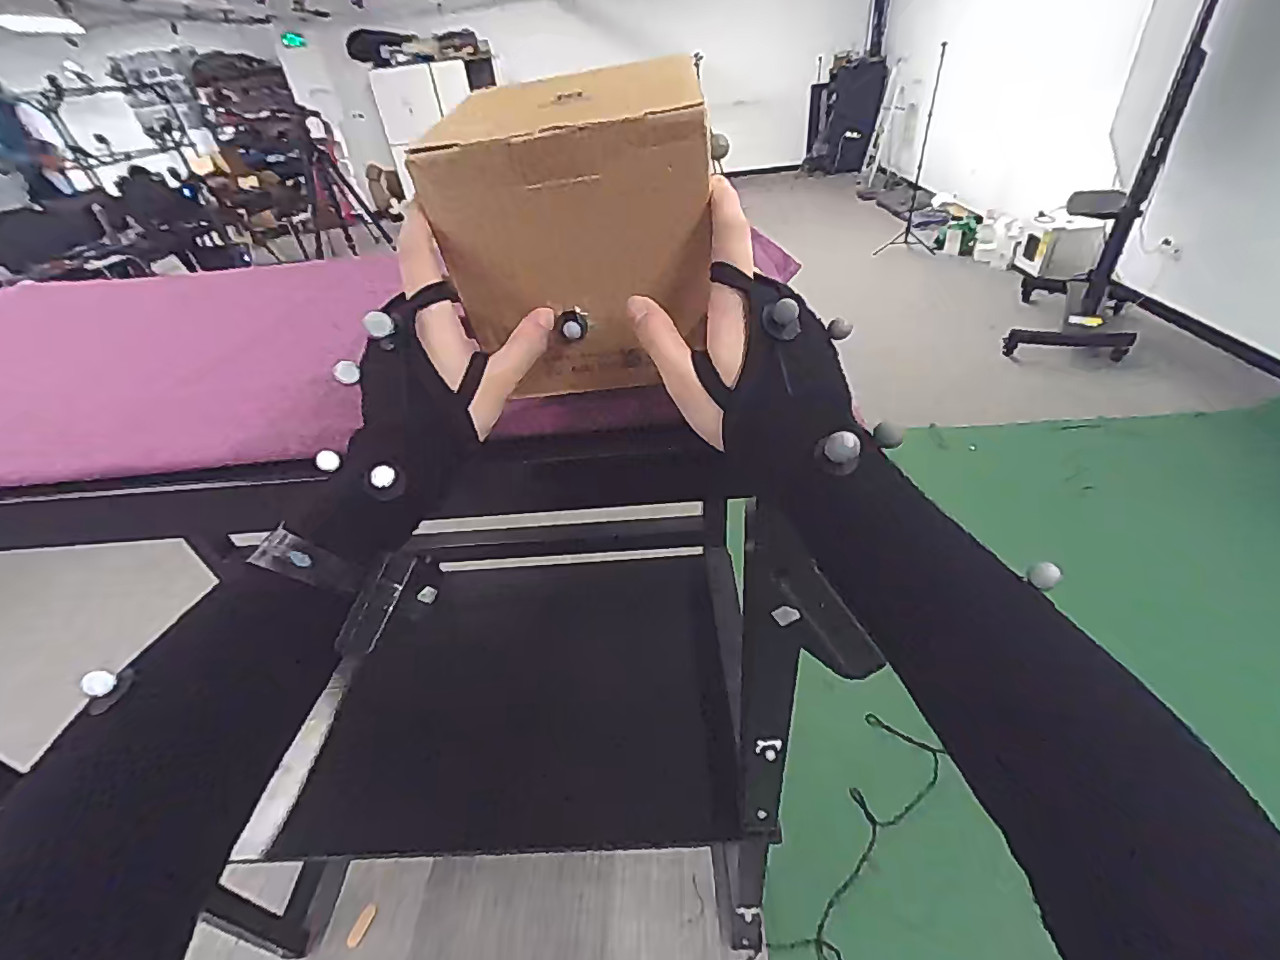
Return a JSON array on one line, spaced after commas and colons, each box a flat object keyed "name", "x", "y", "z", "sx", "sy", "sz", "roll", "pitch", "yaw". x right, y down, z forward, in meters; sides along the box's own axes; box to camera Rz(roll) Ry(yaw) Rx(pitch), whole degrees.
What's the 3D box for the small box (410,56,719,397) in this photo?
[{"name": "small box", "x": -0.032, "y": -0.183, "z": 0.396, "sx": 0.168, "sy": 0.176, "sz": 0.179, "roll": -5, "pitch": 45, "yaw": 7}]
